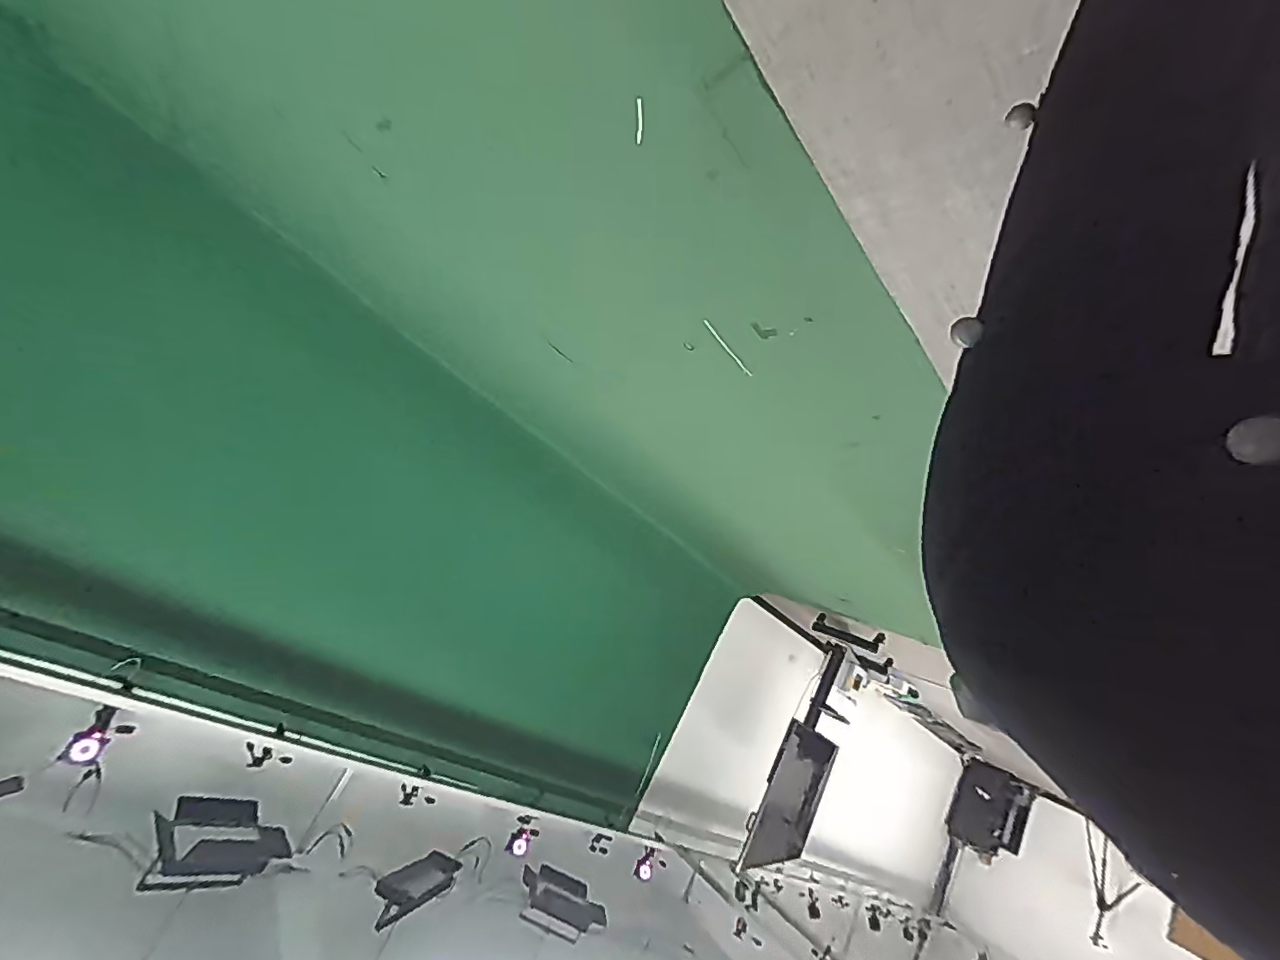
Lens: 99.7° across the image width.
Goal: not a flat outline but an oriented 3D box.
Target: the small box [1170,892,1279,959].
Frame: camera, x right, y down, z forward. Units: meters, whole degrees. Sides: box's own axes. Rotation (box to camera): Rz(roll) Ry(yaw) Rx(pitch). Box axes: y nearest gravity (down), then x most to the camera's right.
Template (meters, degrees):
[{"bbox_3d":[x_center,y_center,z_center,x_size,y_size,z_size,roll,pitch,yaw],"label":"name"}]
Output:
[{"bbox_3d":[1.515,1.195,1.383,0.168,0.176,0.179,36,165,-27],"label":"small box"}]
